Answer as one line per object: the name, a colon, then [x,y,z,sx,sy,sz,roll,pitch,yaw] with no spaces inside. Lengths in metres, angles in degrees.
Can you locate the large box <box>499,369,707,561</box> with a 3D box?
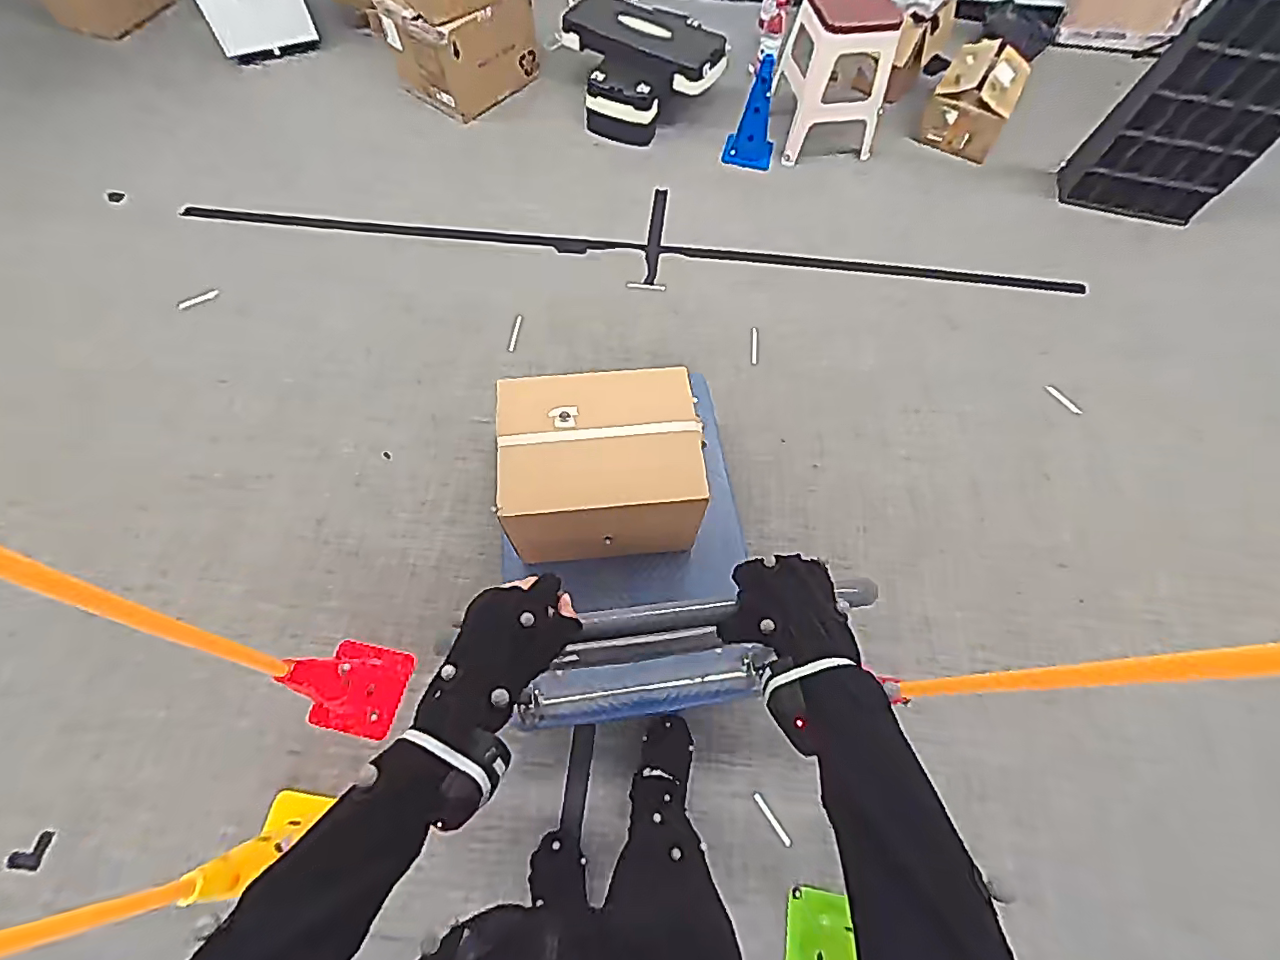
large box: [-0.085,-0.021,1.227,0.408,0.320,0.320,-5,64,-3]

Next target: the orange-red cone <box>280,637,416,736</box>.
orange-red cone: [-0.657,0.418,1.155,0.198,0.360,0.199,13,63,4]

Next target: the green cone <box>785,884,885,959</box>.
green cone: [0.405,0.888,0.954,0.202,0.368,0.200,10,64,2]

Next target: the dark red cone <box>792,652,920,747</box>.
dark red cone: [0.476,0.451,1.153,0.201,0.394,0.202,7,64,-1]
